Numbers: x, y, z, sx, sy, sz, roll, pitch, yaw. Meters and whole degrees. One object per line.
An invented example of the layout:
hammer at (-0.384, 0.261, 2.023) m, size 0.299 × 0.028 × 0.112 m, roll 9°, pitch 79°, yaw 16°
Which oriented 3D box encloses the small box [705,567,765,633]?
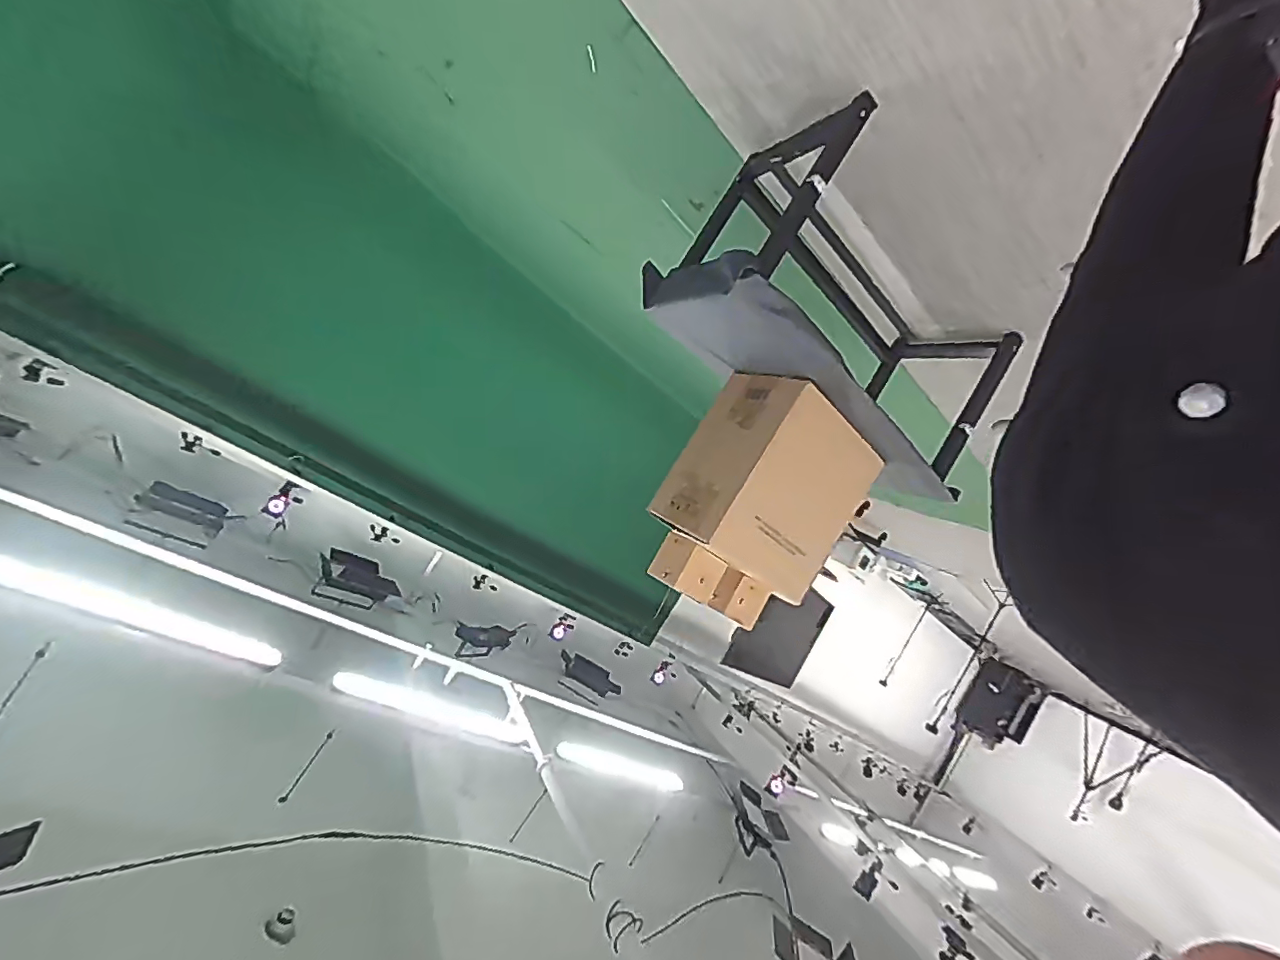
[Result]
small box at (0.346, 0.441, 2.032) m, size 0.168 × 0.176 × 0.179 m, roll 37°, pitch 171°, yaw -30°

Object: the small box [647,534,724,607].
small box at (0.165, 0.314, 1.901) m, size 0.179 × 0.176 × 0.168 m, roll 35°, pitch 171°, yaw -32°
